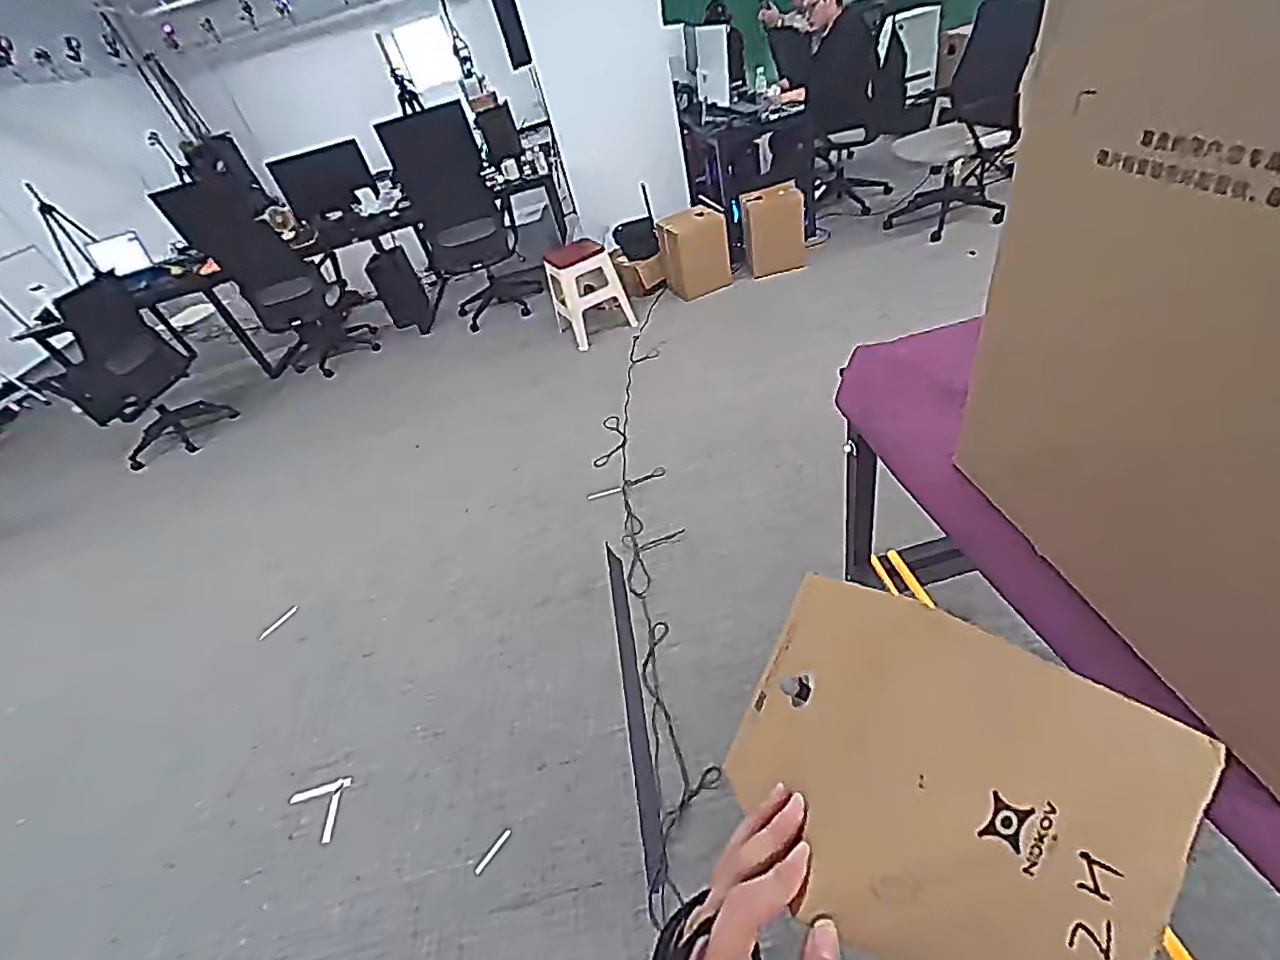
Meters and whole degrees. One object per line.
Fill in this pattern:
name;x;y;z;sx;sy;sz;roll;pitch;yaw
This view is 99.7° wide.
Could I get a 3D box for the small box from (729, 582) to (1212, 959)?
small box;0.177;0.177;0.348;0.179;0.176;0.168;26;85;-1
